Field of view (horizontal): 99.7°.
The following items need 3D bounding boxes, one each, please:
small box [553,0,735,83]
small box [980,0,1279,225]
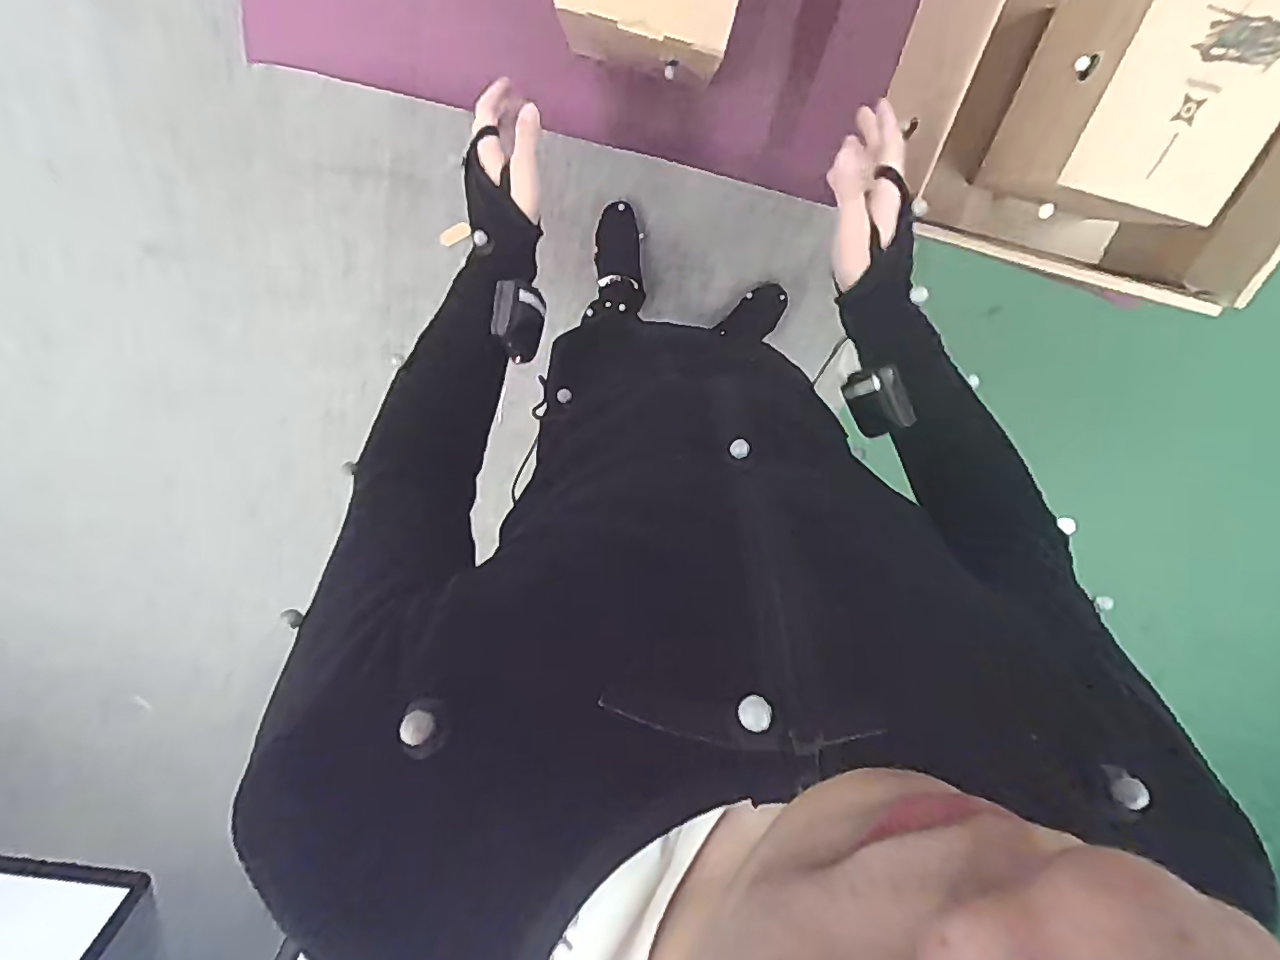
[{"bbox_3d":[0.019,-0.526,0.533,0.168,0.176,0.179,12,116,-7],"label":"small box"},{"bbox_3d":[0.495,-0.376,0.551,0.168,0.176,0.179,13,117,-4],"label":"small box"}]
